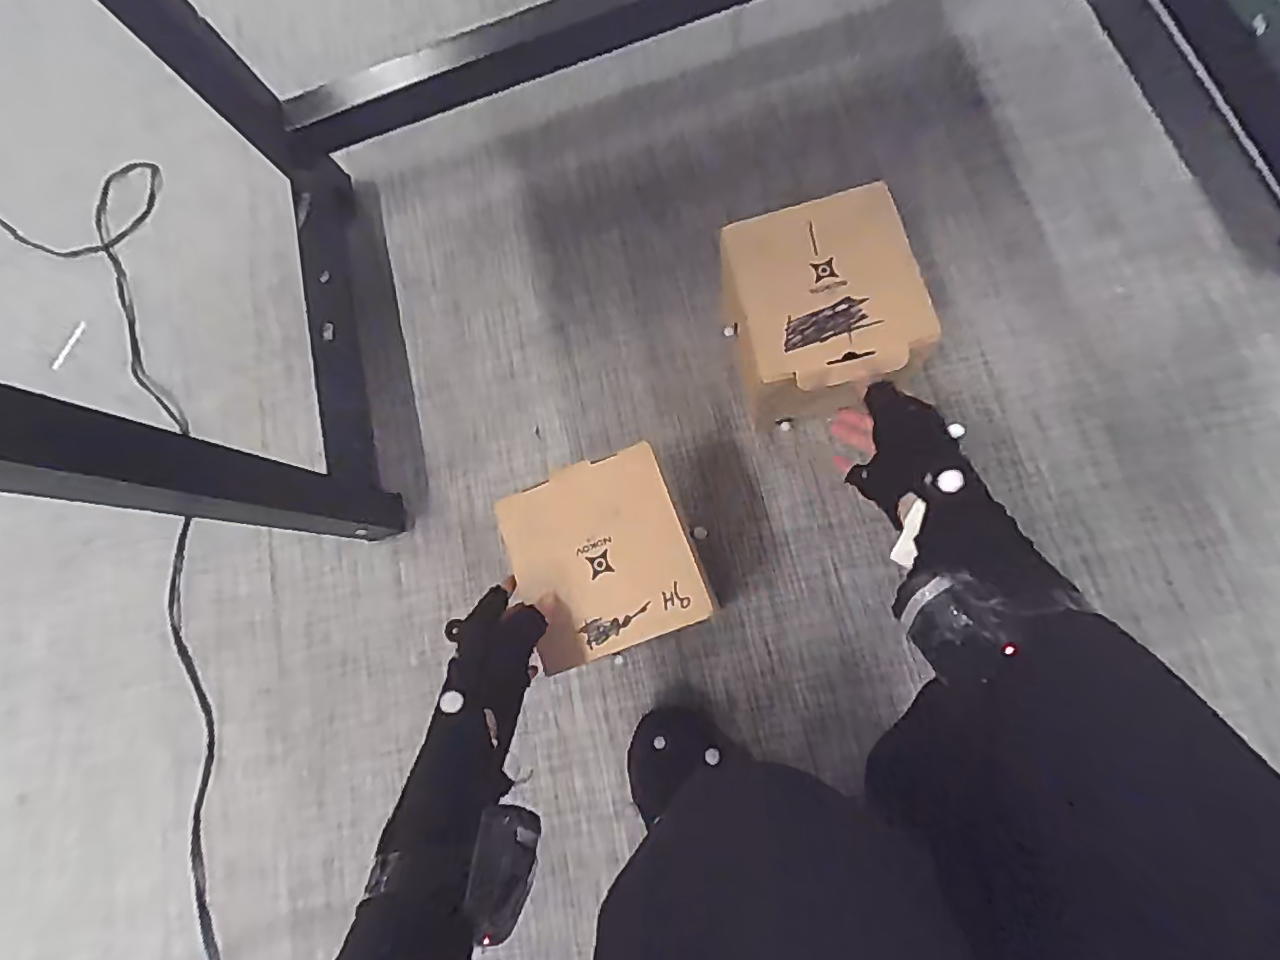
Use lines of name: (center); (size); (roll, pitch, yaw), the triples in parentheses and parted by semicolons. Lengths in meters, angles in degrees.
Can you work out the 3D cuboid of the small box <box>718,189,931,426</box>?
small box: (0.190, -0.170, 0.599); (0.168, 0.176, 0.179); (-14, 76, 9)
